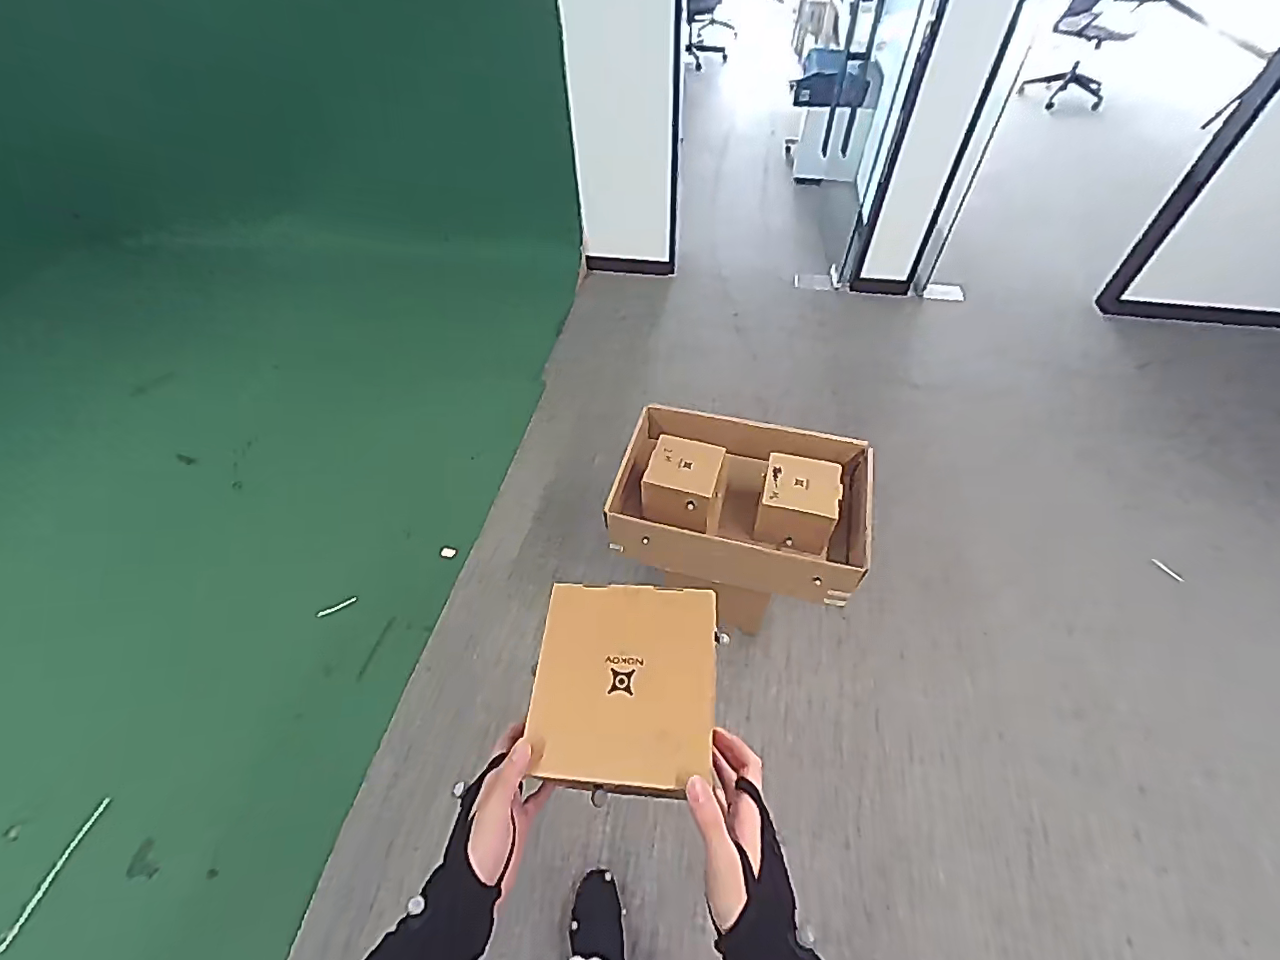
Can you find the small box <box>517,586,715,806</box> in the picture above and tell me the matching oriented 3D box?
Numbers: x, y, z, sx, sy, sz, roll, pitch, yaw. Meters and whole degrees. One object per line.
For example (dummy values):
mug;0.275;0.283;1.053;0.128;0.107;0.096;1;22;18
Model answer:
small box;-0.008;0.226;0.560;0.168;0.176;0.179;1;55;9
